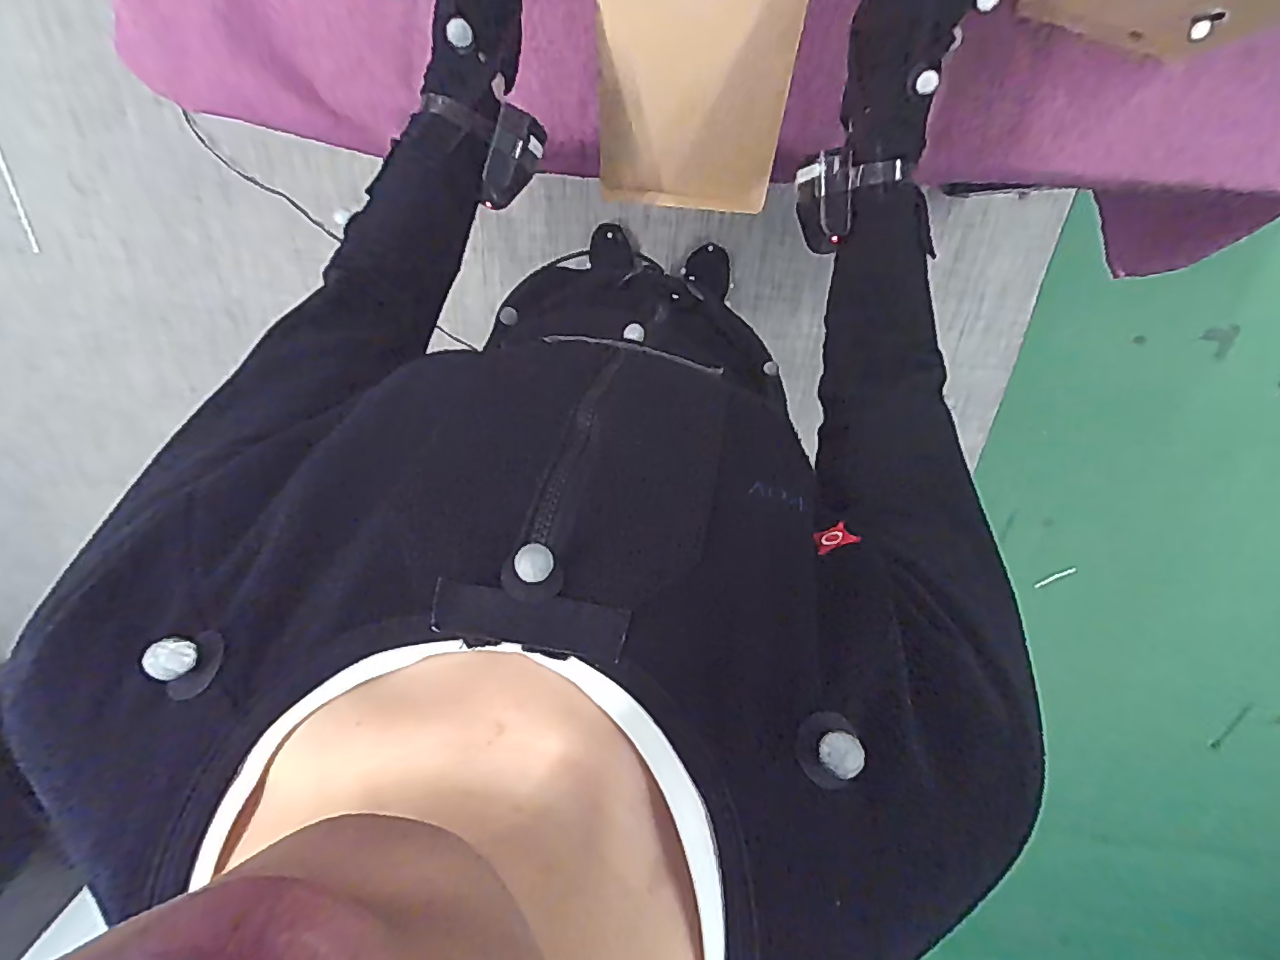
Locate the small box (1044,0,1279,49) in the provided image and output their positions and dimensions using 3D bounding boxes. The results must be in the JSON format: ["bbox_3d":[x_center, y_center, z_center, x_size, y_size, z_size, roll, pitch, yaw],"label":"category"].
[{"bbox_3d":[0.445,-0.461,0.400,0.168,0.176,0.179,15,116,-3],"label":"small box"}]
